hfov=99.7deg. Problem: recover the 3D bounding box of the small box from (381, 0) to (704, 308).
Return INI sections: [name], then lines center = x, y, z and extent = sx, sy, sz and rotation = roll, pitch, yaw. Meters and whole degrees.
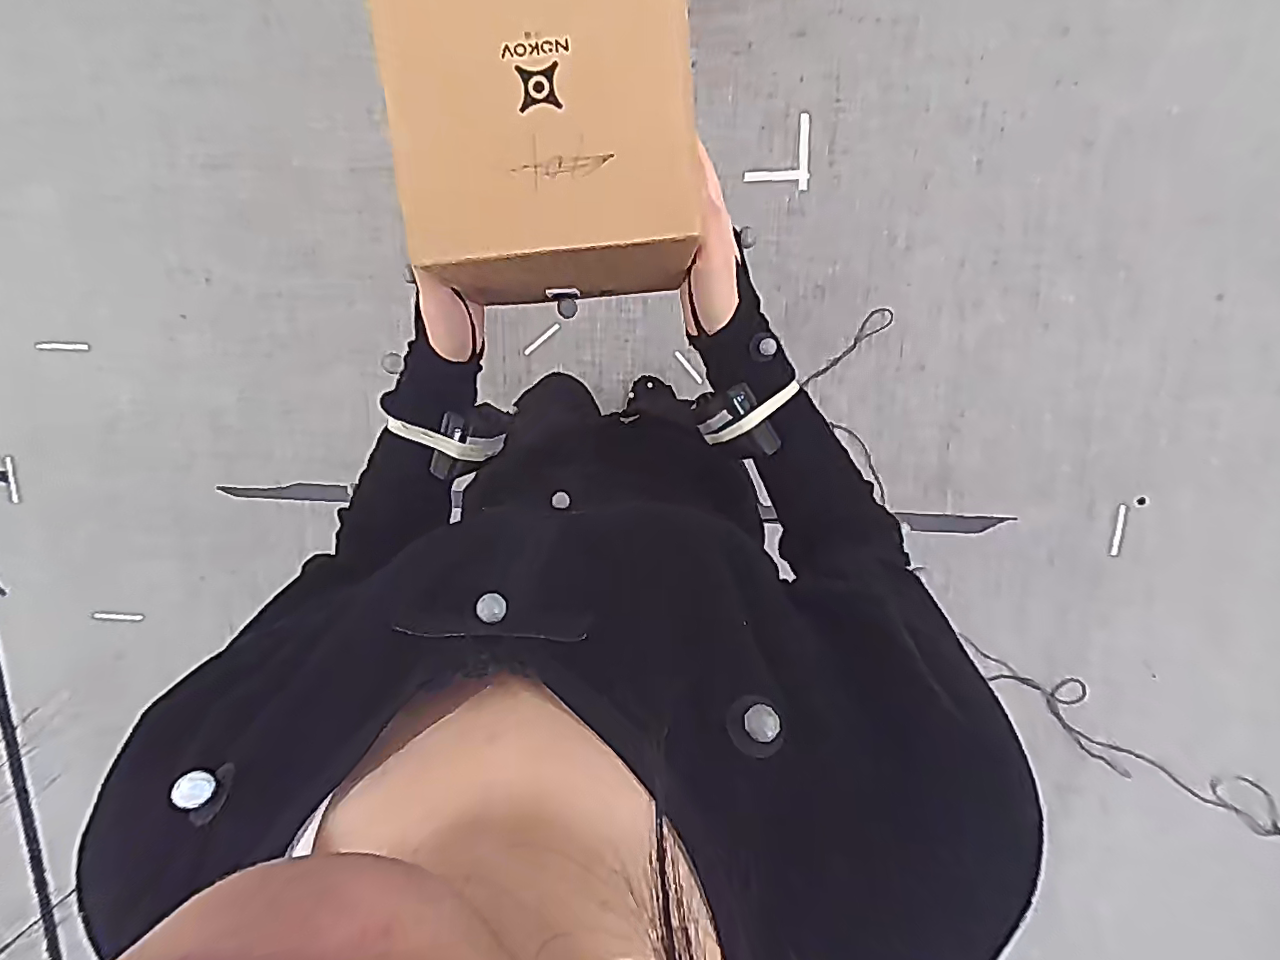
[small box]
center = -0.053, -0.226, 0.370
extent = 0.168, 0.176, 0.179
rotation = -5, 100, 0
